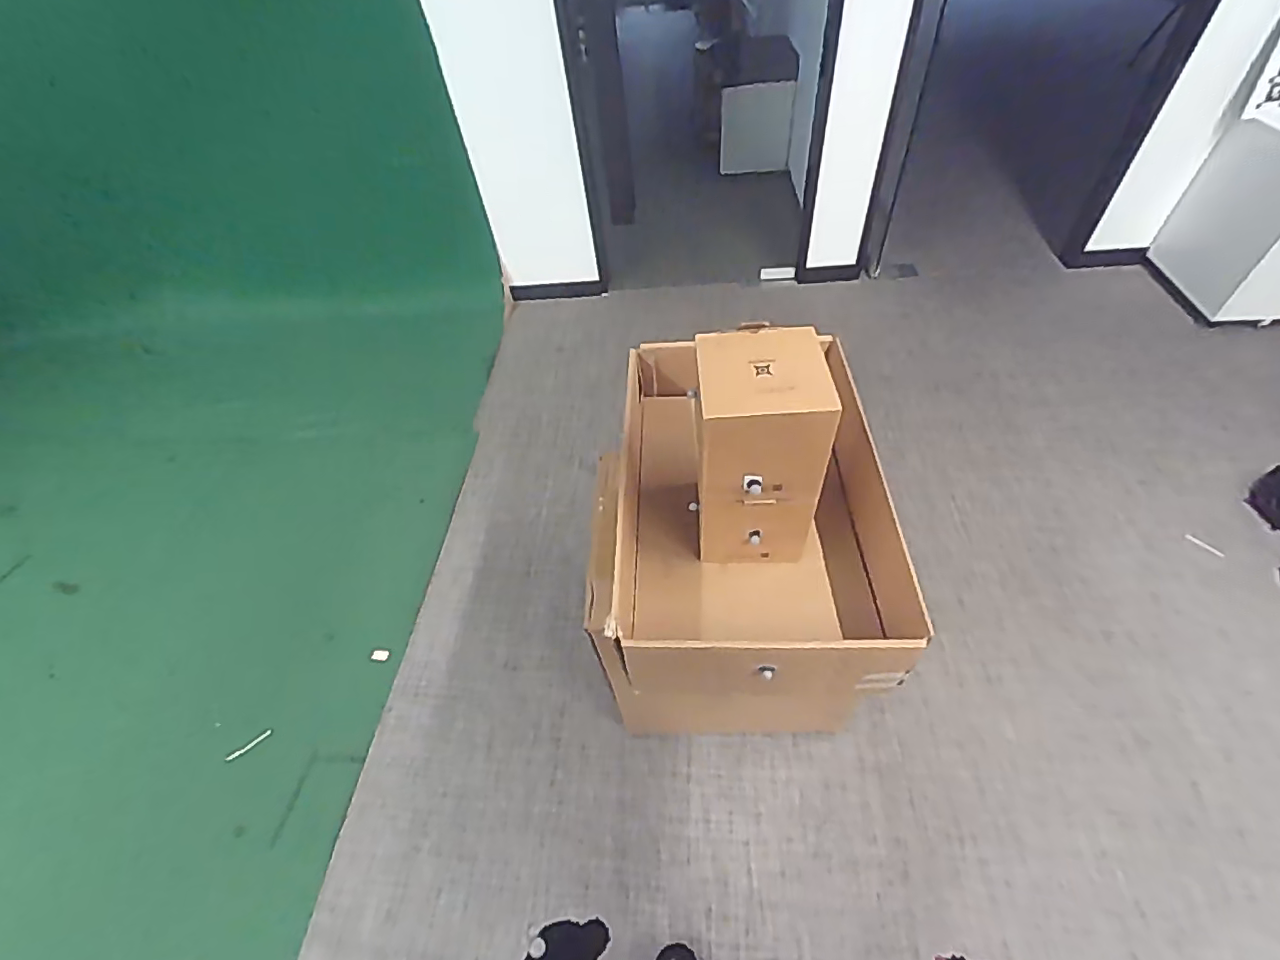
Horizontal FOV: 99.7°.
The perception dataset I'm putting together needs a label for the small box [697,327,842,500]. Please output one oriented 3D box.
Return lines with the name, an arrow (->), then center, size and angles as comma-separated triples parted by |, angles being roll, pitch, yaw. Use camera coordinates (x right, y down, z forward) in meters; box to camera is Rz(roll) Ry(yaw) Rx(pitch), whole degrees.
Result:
small box -> 0.166, -0.091, 0.760 | 0.168, 0.176, 0.179 | -4, 50, 4
